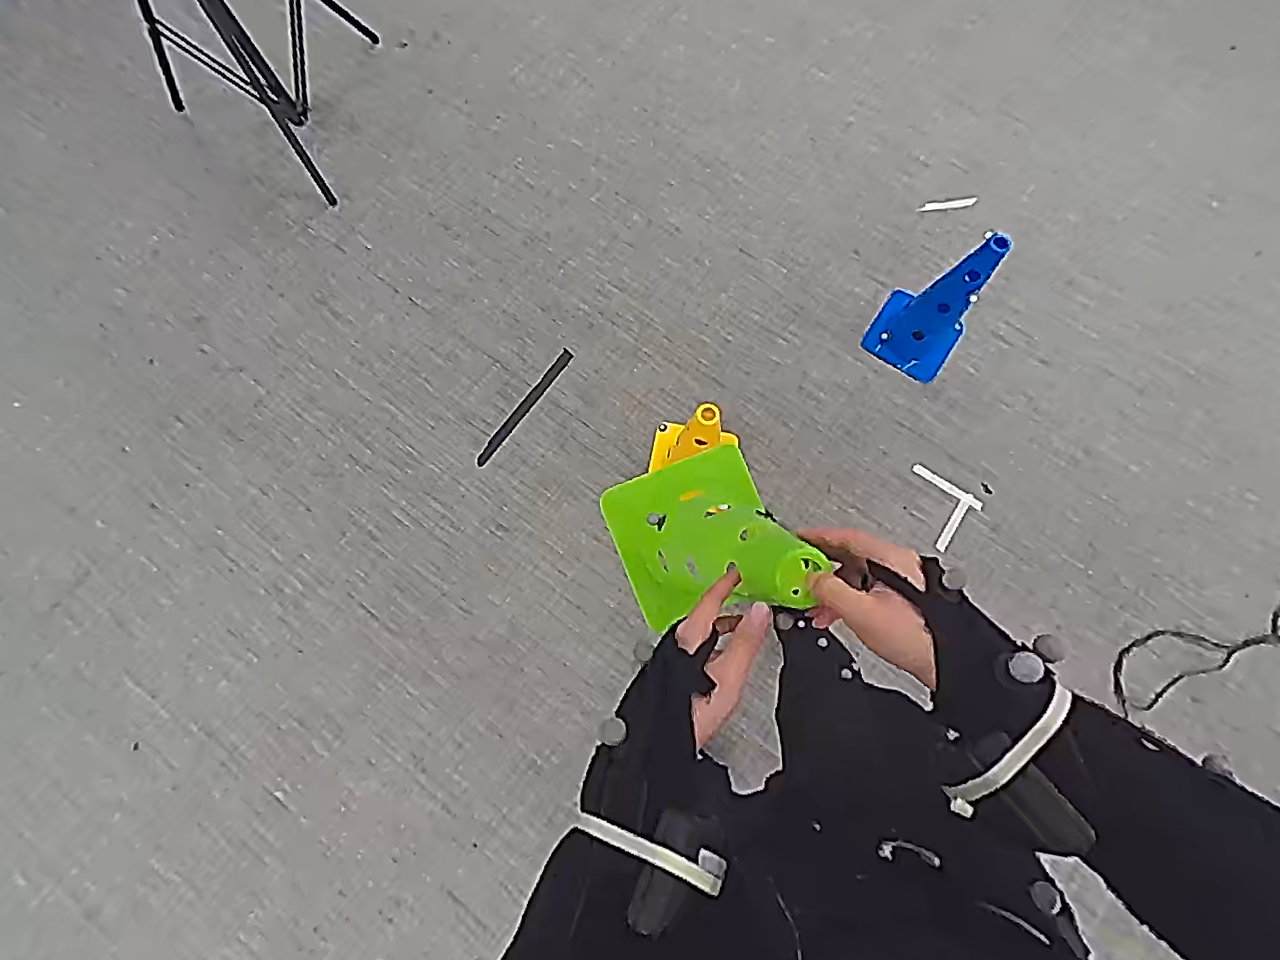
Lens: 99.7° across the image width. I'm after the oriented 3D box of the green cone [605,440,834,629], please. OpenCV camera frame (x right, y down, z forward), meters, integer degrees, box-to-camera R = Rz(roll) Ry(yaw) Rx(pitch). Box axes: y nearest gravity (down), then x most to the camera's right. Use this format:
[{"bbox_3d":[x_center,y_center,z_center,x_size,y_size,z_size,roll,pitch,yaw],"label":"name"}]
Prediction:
[{"bbox_3d":[0.093,0.063,0.525,0.202,0.368,0.200,-23,90,-5],"label":"green cone"}]
